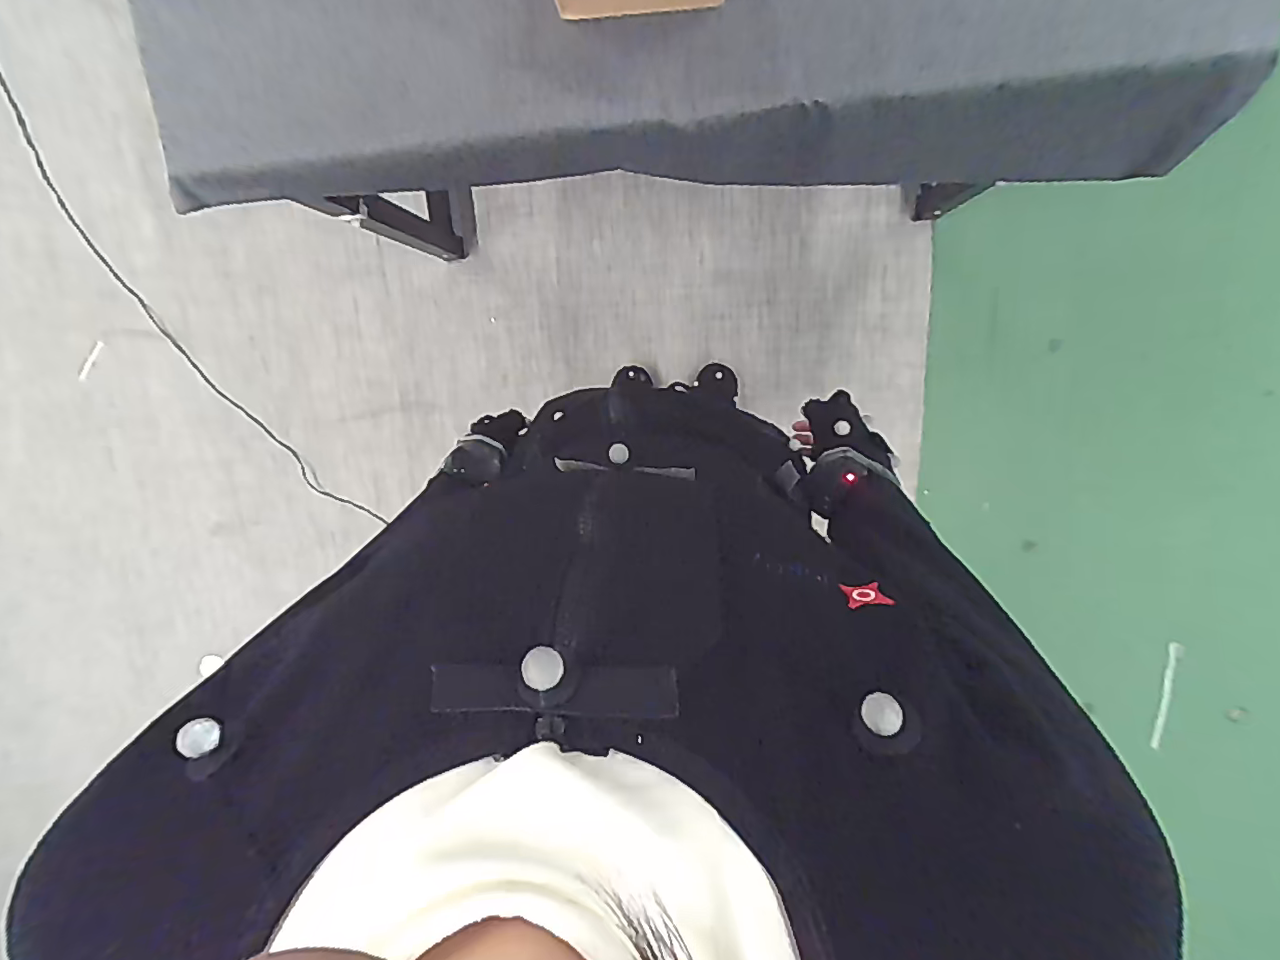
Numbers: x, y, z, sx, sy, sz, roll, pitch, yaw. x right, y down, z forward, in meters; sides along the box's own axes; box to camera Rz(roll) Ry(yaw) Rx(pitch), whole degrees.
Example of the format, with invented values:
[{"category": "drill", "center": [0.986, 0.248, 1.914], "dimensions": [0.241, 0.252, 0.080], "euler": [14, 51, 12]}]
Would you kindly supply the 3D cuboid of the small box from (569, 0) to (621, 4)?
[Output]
[{"category": "small box", "center": [-0.008, -0.574, 0.482], "dimensions": [0.179, 0.176, 0.168], "euler": [-4, 101, 5]}]
